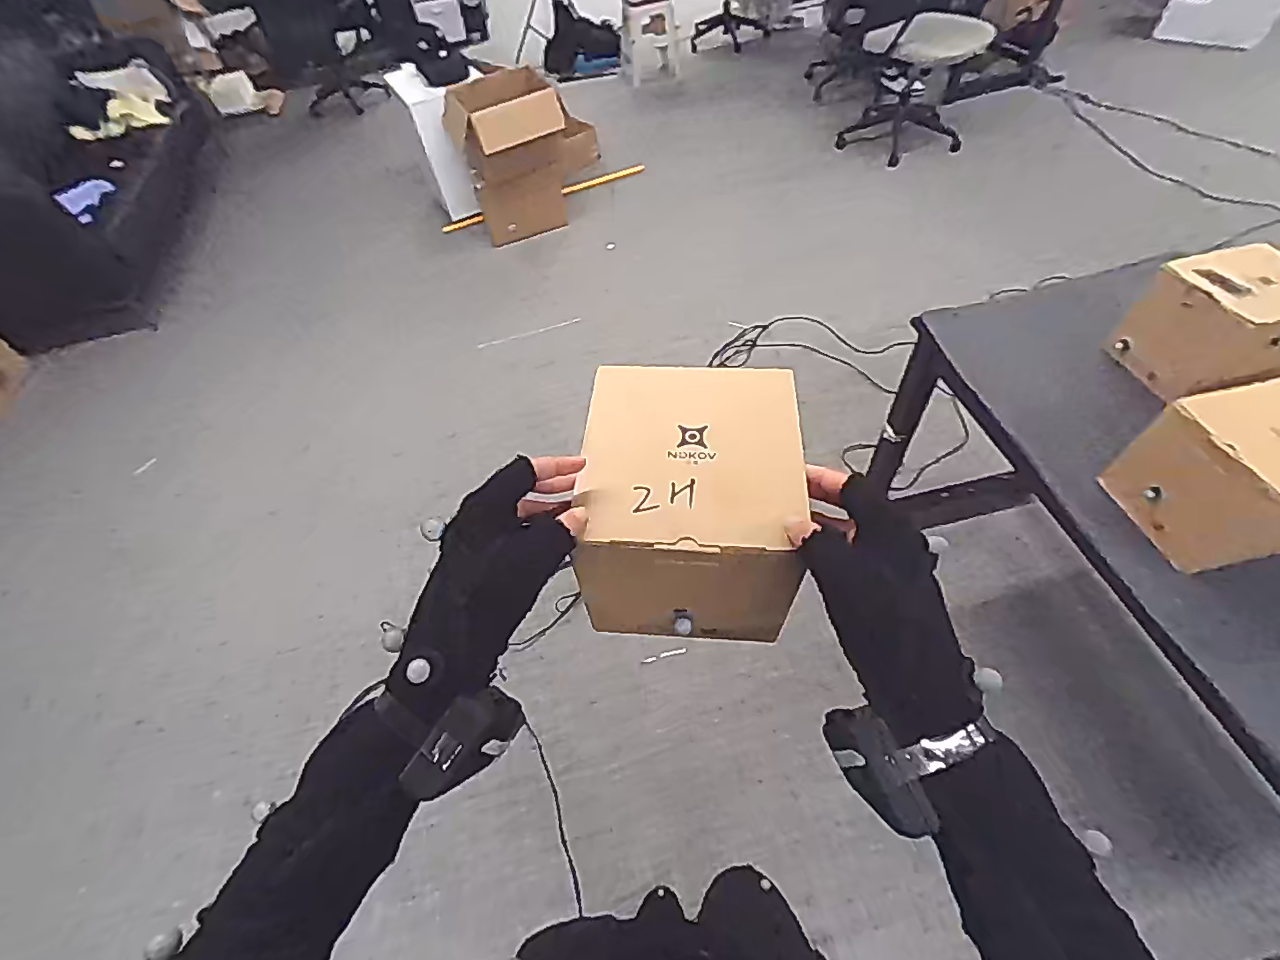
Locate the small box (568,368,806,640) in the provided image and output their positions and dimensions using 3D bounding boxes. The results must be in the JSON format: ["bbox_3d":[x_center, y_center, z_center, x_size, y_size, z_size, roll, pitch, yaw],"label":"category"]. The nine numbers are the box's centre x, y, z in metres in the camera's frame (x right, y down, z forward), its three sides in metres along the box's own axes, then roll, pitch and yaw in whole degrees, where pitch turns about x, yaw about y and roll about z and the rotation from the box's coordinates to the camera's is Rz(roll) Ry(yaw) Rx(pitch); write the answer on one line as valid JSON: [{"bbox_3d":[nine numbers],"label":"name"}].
[{"bbox_3d":[0.041,0.023,0.479,0.168,0.176,0.179,1,53,5],"label":"small box"}]

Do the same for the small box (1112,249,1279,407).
[{"bbox_3d":[0.923,-0.239,0.872,0.179,0.176,0.168,-12,53,-3],"label":"small box"}]

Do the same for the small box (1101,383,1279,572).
[{"bbox_3d":[0.779,-0.001,0.710,0.179,0.176,0.168,-12,53,-3],"label":"small box"}]
